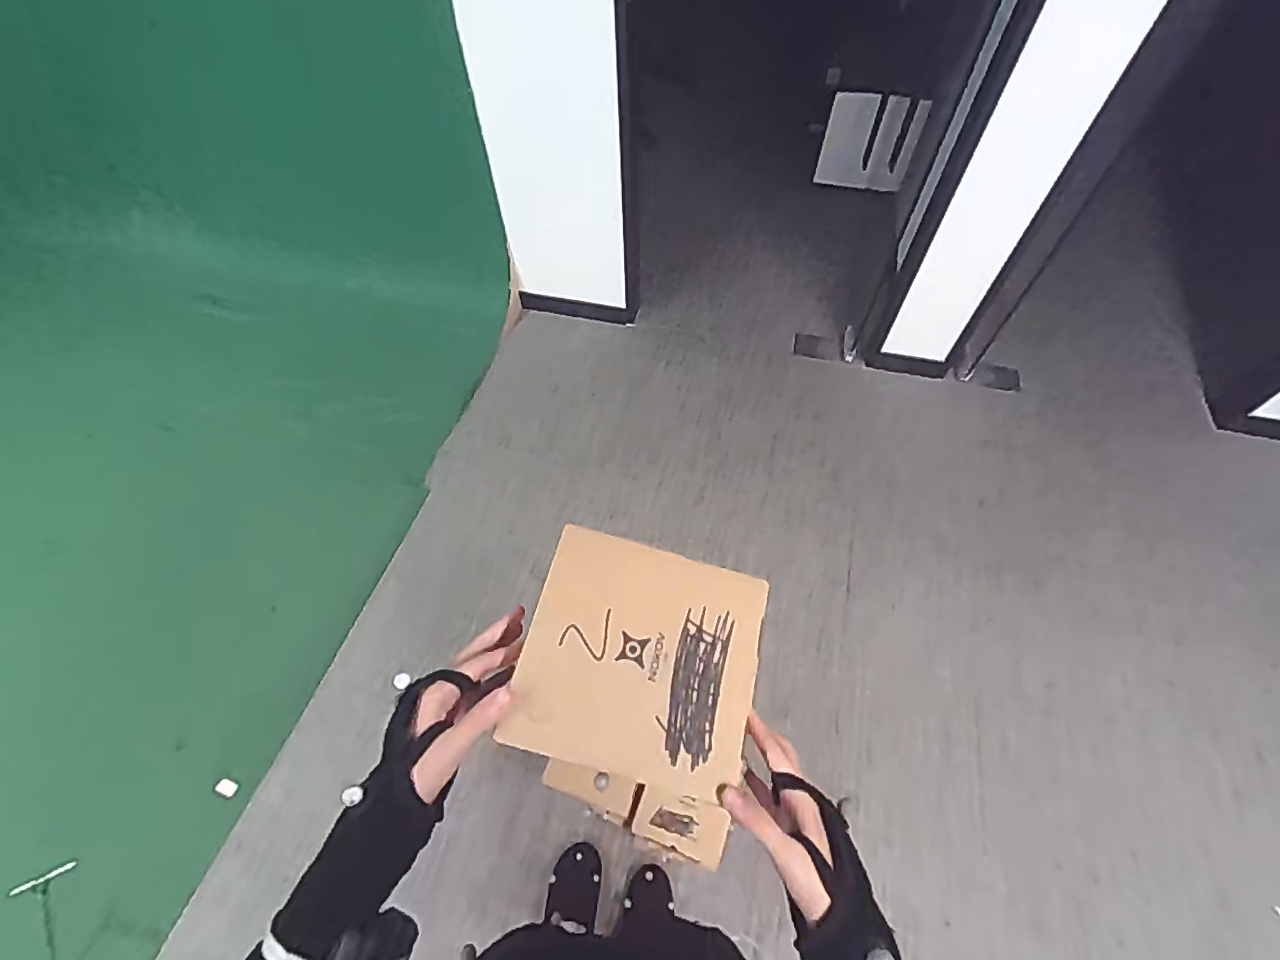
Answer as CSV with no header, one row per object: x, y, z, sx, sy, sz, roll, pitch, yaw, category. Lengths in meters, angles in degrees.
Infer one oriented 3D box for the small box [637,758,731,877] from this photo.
0.093,0.740,1.191,0.168,0.176,0.179,13,58,10,small box
